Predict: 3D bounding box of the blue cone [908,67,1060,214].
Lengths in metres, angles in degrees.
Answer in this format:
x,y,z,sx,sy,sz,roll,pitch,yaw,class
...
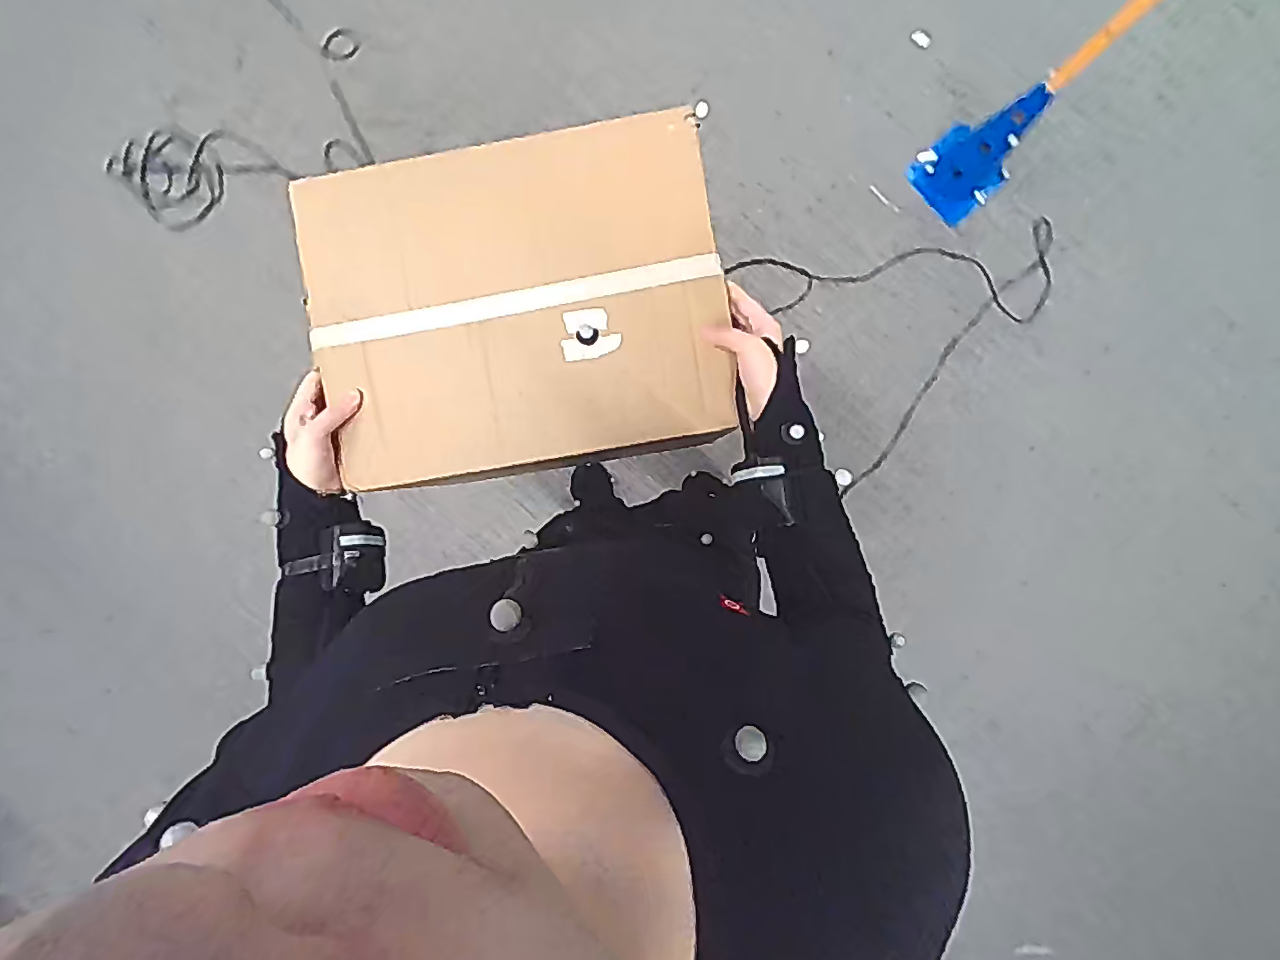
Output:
x,y,z,sx,sy,sz,roll,pitch,yaw,class
0.820,-0.811,1.264,0.192,0.380,0.193,-41,91,3,blue cone

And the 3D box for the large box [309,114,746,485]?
x,y,z,sx,sy,sz,roll,pitch,yaw,class
-0.112,-0.179,0.684,0.408,0.320,0.320,-9,91,1,large box
